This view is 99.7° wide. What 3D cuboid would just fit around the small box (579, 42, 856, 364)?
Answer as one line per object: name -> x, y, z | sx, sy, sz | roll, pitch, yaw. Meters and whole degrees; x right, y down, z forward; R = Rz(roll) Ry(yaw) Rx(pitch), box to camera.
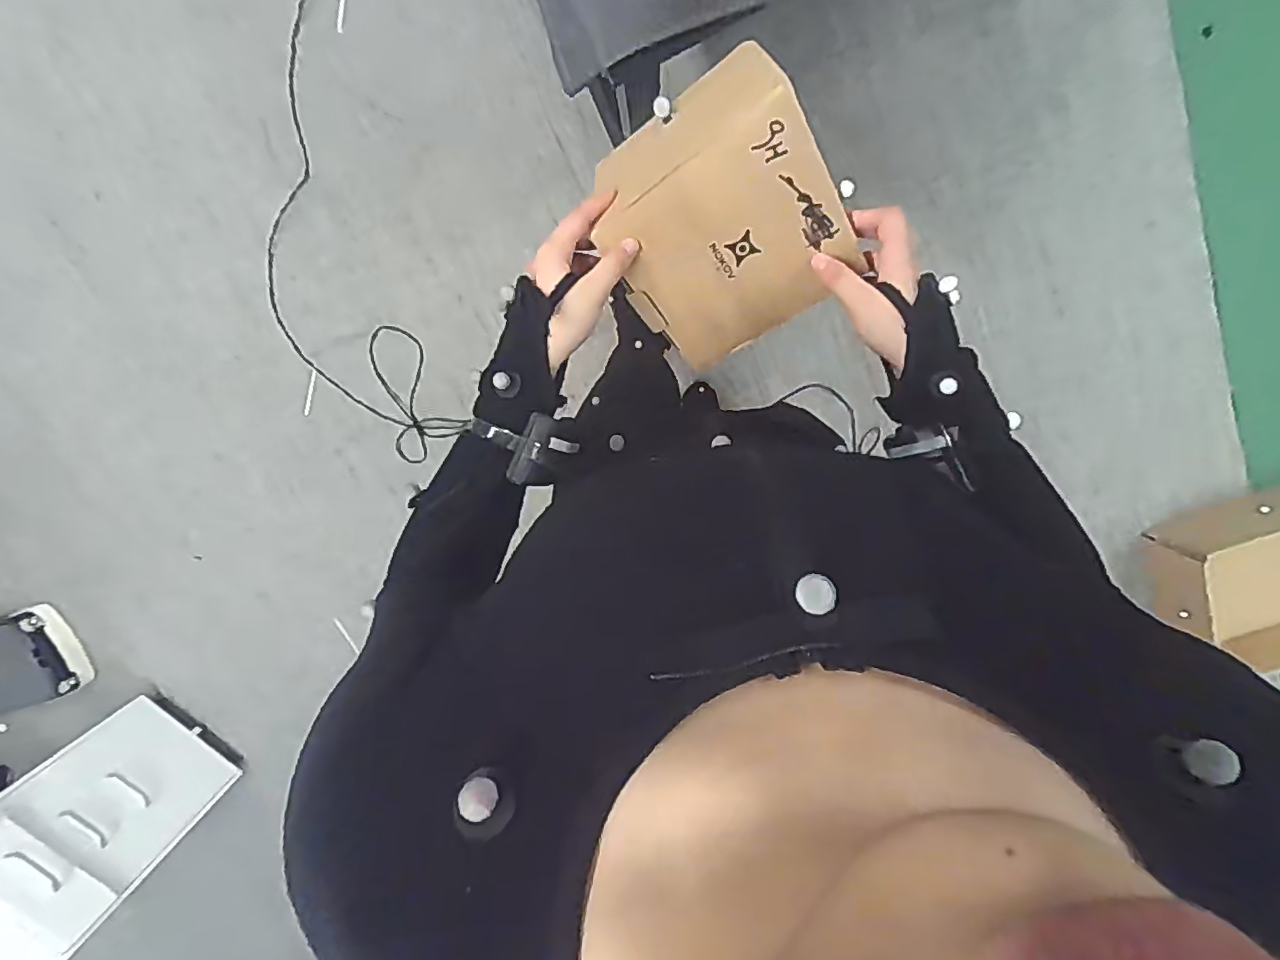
small box -> 0.067, -0.248, 0.496 | 0.179, 0.176, 0.168 | -26, 132, 25
